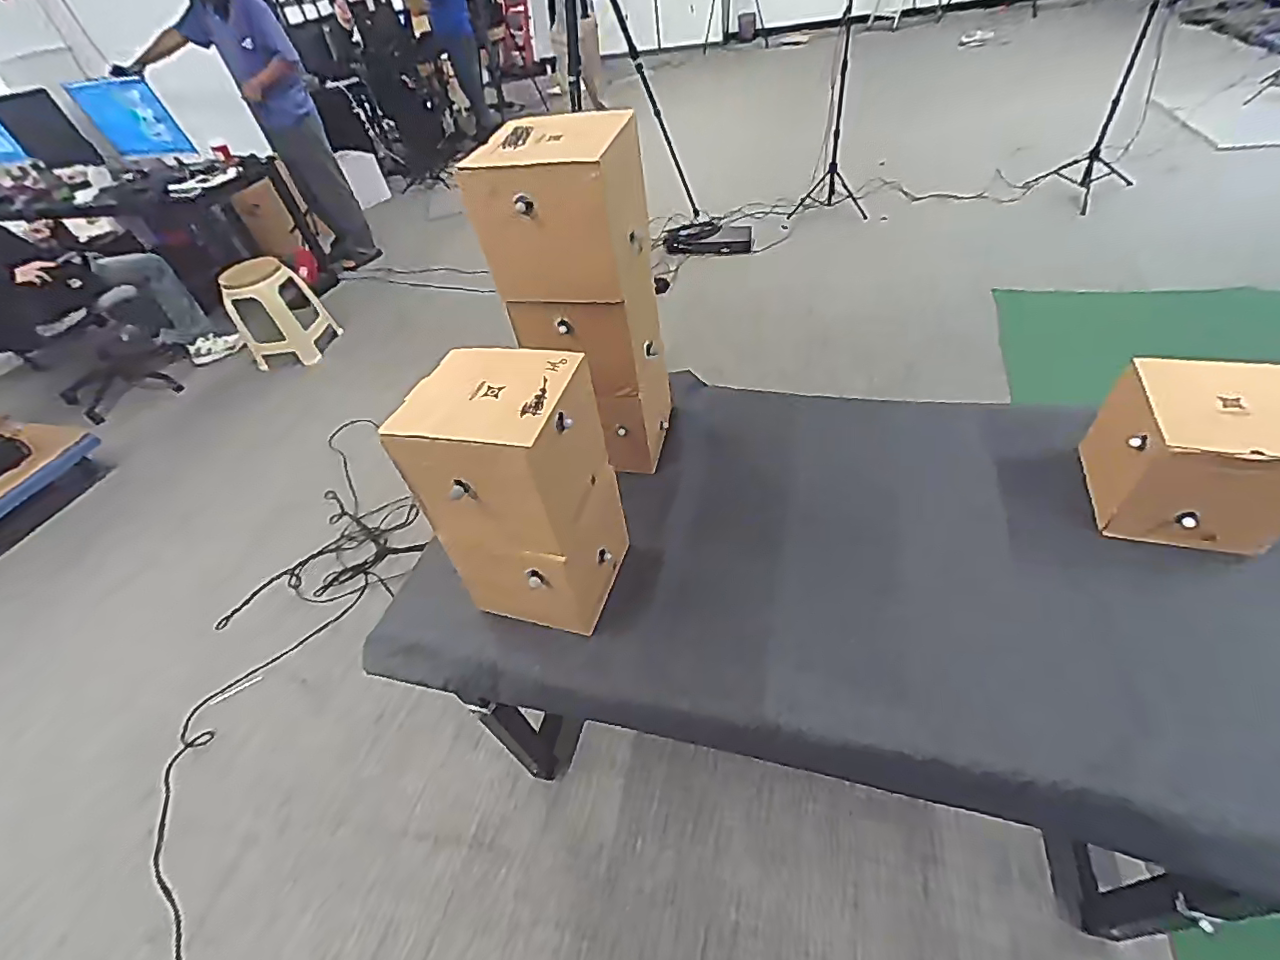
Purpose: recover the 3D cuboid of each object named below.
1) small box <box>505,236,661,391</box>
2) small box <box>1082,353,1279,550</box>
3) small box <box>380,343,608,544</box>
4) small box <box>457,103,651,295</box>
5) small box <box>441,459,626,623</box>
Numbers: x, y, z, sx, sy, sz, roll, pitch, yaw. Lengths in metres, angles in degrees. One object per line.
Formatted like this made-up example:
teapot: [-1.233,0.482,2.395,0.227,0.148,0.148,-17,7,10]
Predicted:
small box: [-0.073,-0.250,0.817,0.179,0.176,0.168,5,51,13]
small box: [0.711,-0.038,0.697,0.168,0.176,0.179,9,51,18]
small box: [-0.152,-0.043,0.632,0.179,0.176,0.168,5,47,15]
small box: [-0.093,-0.352,0.689,0.179,0.176,0.168,6,51,14]
small box: [-0.130,0.074,0.743,0.179,0.176,0.168,9,47,17]
